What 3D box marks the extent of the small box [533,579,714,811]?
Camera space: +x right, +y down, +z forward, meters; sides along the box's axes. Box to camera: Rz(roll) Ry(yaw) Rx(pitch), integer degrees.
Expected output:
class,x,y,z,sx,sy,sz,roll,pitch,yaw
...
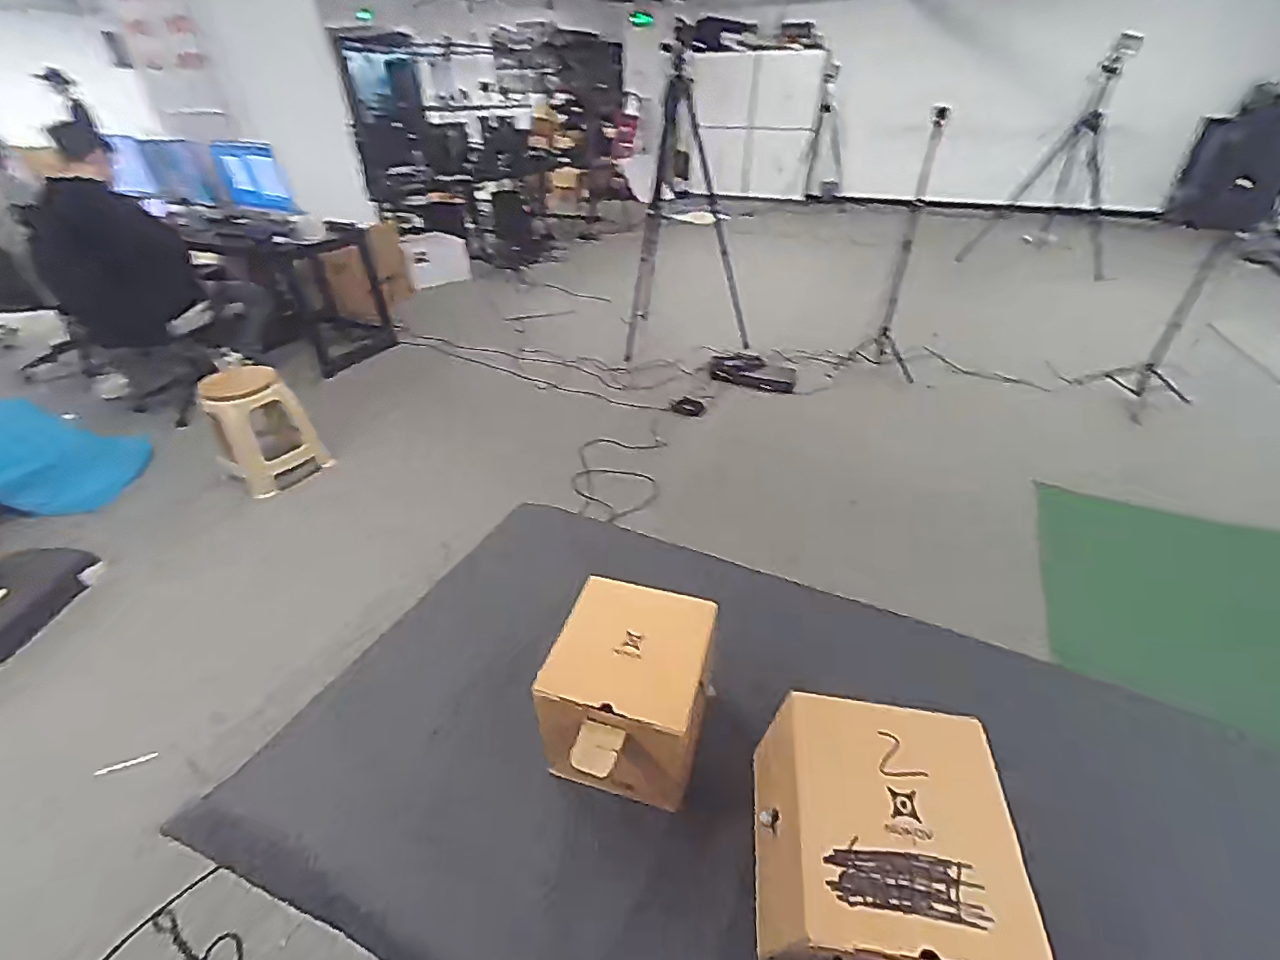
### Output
class,x,y,z,sx,sy,sz,roll,pitch,yaw
small box,-0.012,0.253,0.651,0.168,0.176,0.179,9,37,13
